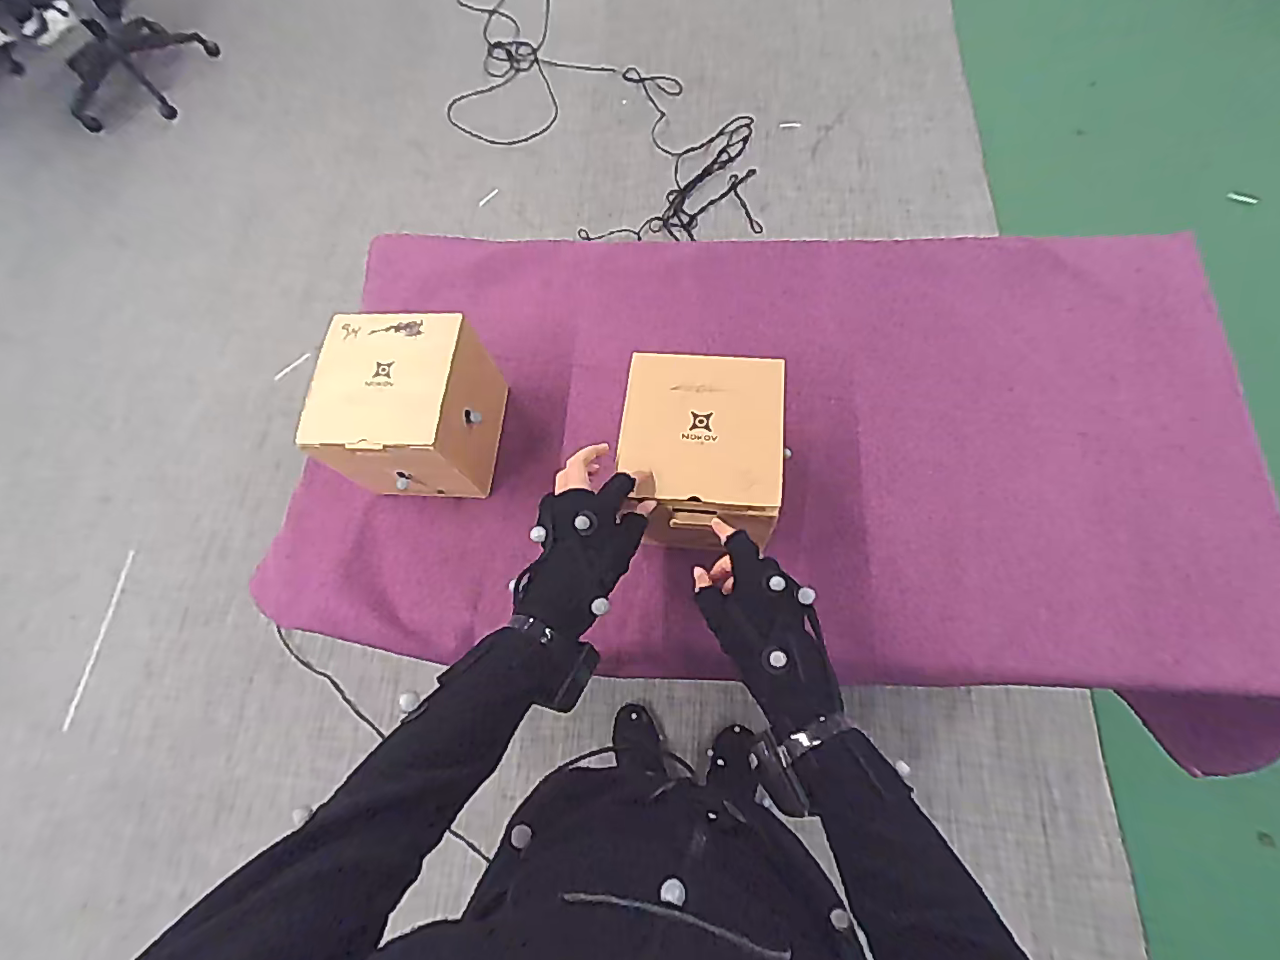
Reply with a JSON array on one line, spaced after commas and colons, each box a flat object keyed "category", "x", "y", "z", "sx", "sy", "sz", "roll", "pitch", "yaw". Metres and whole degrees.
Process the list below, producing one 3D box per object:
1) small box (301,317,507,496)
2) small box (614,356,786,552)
[{"category": "small box", "x": -0.282, "y": -0.085, "z": 0.691, "sx": 0.168, "sy": 0.176, "sz": 0.179, "roll": 2, "pitch": 70, "yaw": 6}, {"category": "small box", "x": 0.073, "y": -0.022, "z": 0.629, "sx": 0.168, "sy": 0.176, "sz": 0.179, "roll": 5, "pitch": 69, "yaw": 8}]
